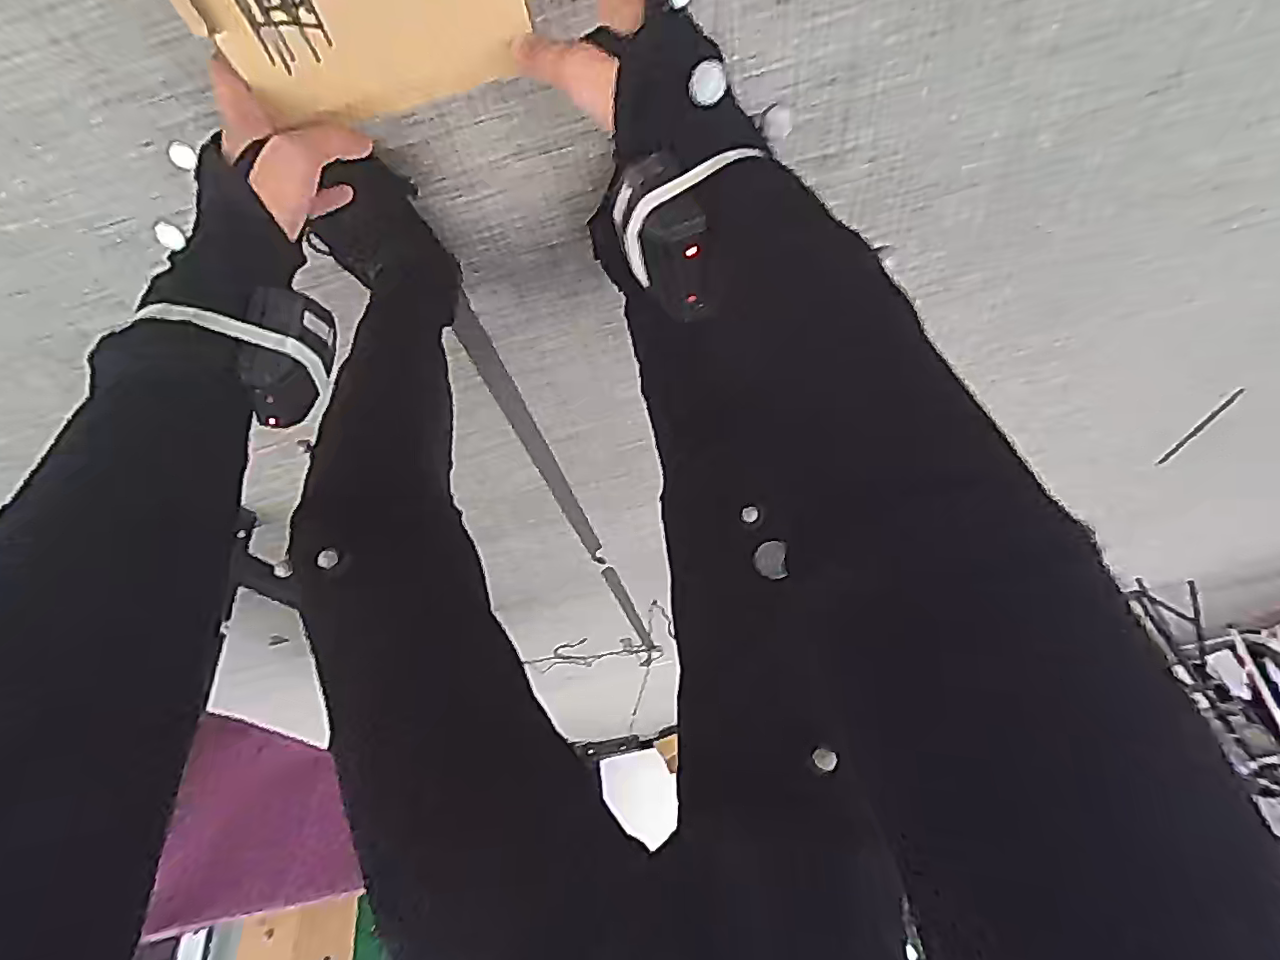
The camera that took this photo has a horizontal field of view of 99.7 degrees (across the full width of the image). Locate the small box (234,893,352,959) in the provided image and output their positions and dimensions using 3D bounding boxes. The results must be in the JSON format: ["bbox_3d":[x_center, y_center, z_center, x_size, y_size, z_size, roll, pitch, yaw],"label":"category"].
[{"bbox_3d":[-0.809,1.087,1.264,0.168,0.176,0.179,-19,145,13],"label":"small box"}]
